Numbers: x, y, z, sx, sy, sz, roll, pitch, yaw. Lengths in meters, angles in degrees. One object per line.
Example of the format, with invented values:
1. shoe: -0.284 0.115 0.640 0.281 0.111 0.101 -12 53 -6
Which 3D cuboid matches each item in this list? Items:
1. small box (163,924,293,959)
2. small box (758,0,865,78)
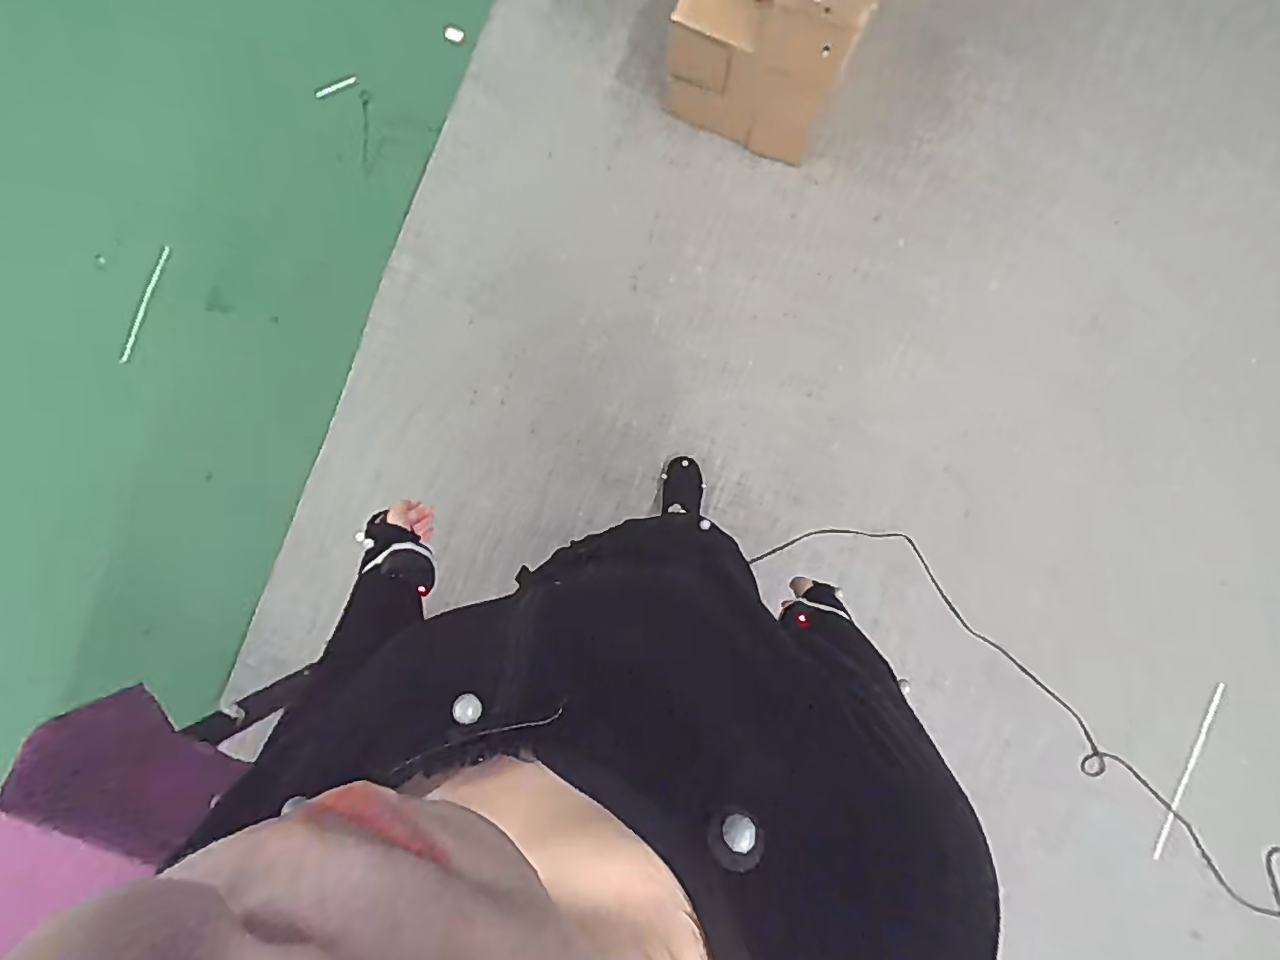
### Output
1. small box: -0.603 0.756 0.725 0.179 0.176 0.168 20 90 3
2. small box: 0.360 -0.971 1.101 0.179 0.176 0.168 22 89 3
